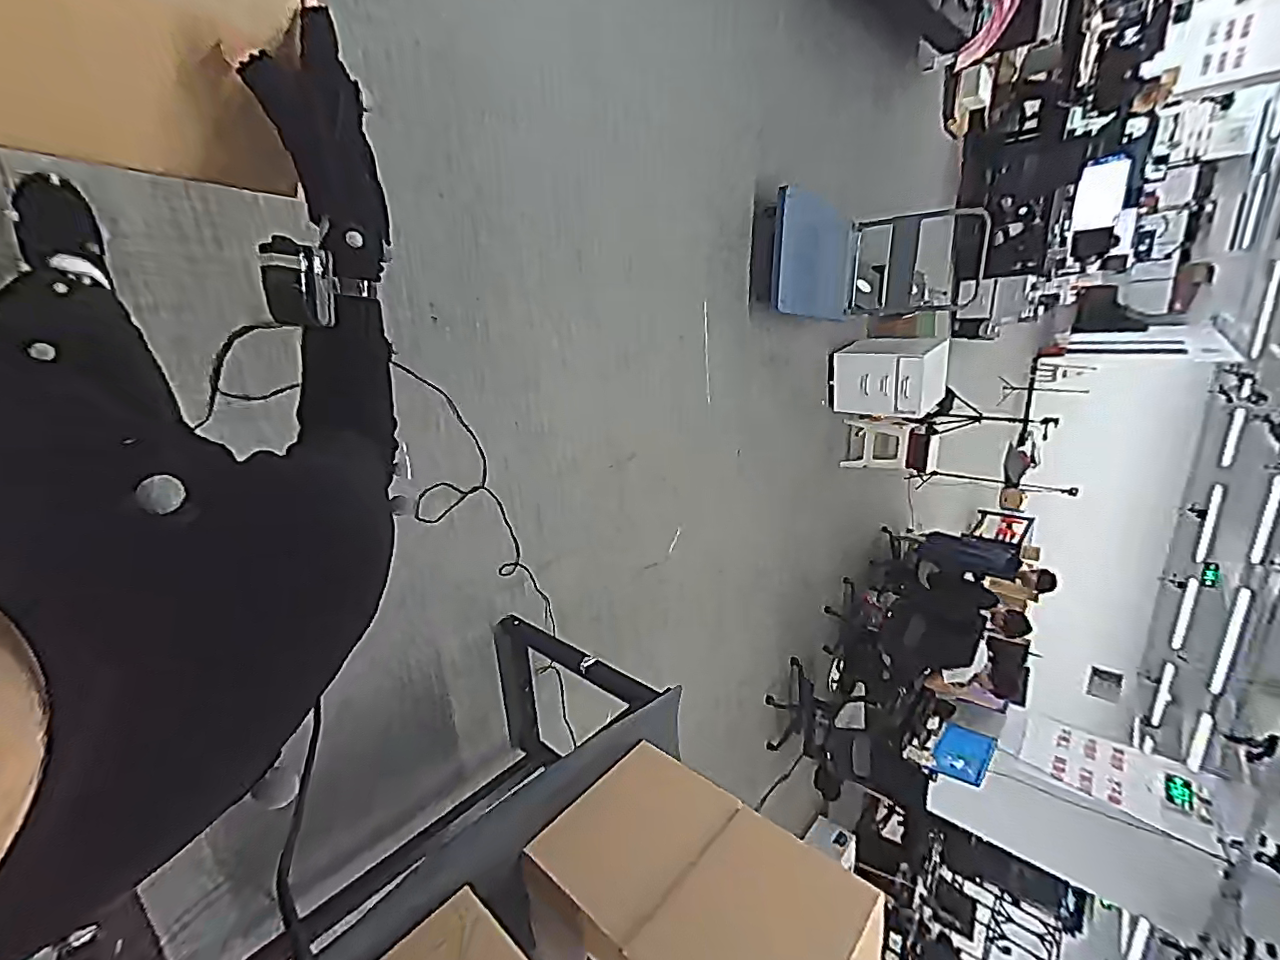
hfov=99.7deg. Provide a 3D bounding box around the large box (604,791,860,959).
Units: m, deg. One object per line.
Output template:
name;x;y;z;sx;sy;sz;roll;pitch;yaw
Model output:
large box;0.184;0.918;1.043;0.408;0.320;0.320;-20;114;-45
